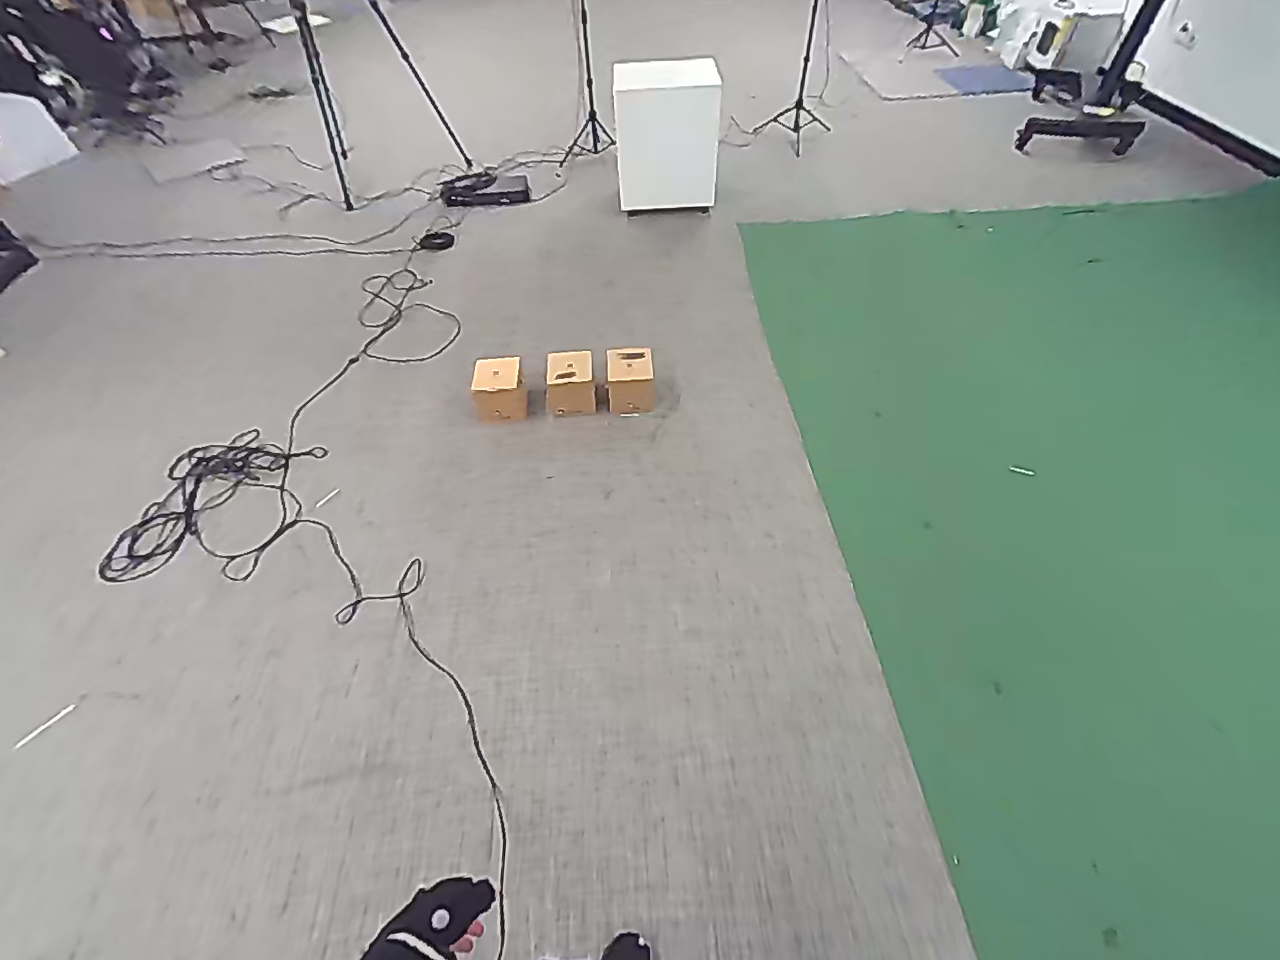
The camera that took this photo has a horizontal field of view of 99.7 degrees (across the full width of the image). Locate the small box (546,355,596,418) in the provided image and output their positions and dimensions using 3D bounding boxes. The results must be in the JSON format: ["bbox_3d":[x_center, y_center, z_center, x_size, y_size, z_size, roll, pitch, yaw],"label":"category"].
[{"bbox_3d":[-0.257,-0.349,2.060,0.168,0.176,0.179,-5,50,0],"label":"small box"}]

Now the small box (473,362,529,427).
[{"bbox_3d":[-0.522,-0.324,2.056,0.168,0.176,0.179,-4,51,0],"label":"small box"}]
